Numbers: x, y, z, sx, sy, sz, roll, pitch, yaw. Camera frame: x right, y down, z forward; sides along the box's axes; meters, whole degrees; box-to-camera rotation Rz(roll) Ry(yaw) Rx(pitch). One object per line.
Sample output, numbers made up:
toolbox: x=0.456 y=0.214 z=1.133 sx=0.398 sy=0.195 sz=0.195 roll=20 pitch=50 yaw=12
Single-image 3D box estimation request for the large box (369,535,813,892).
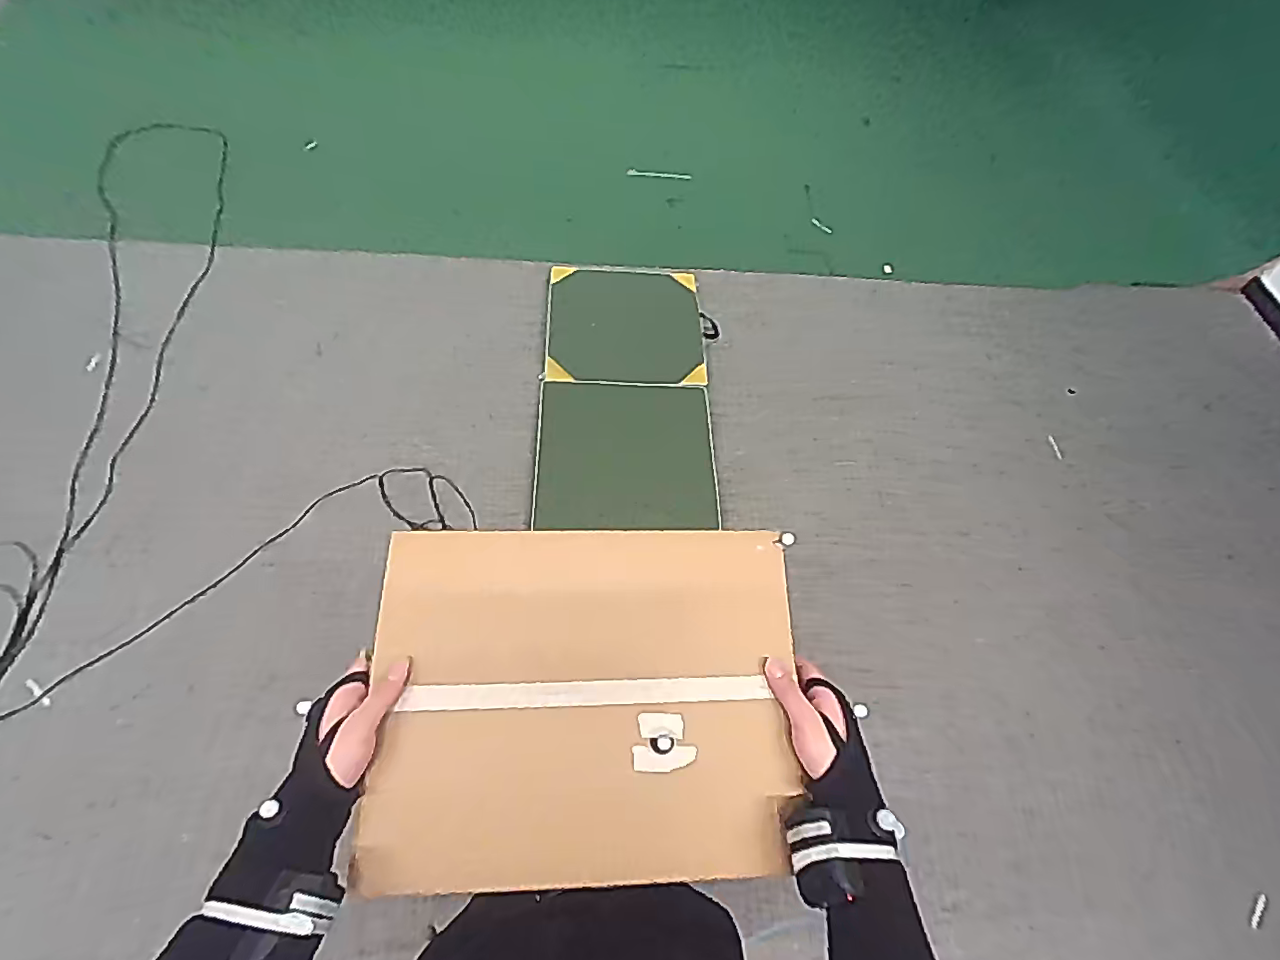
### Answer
large box: x=-0.056 y=0.257 z=0.667 sx=0.408 sy=0.320 sz=0.320 roll=1 pitch=70 yaw=-5
